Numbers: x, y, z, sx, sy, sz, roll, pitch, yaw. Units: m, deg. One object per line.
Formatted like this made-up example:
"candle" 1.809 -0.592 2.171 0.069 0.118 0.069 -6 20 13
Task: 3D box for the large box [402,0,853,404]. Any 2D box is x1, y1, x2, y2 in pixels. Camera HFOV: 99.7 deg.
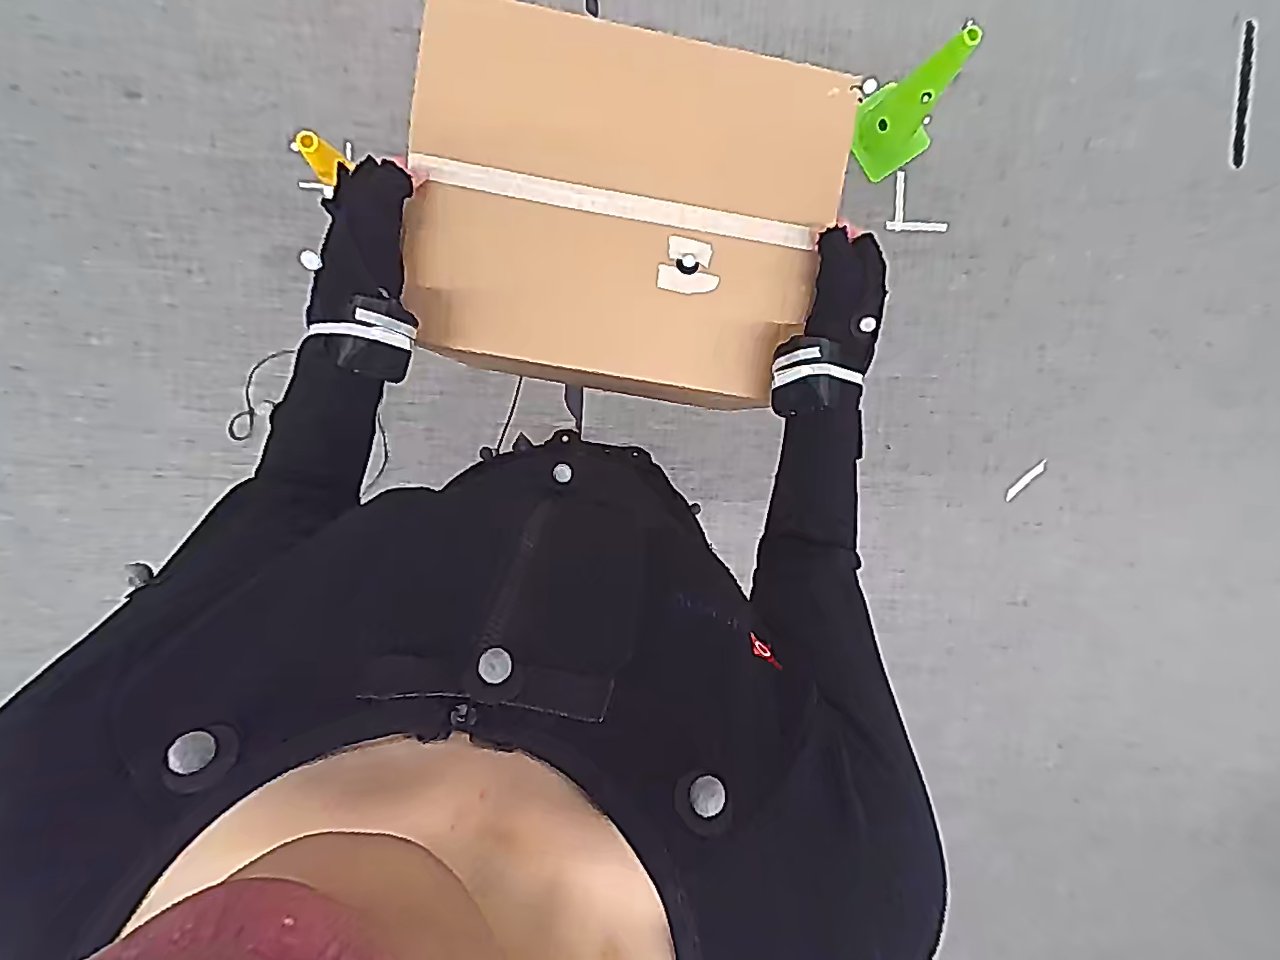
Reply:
"large box" -0.023 -0.279 0.663 0.408 0.320 0.320 9 96 -5

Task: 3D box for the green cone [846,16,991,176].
"green cone" 0.679 -0.935 1.281 0.202 0.368 0.200 -35 96 -2
